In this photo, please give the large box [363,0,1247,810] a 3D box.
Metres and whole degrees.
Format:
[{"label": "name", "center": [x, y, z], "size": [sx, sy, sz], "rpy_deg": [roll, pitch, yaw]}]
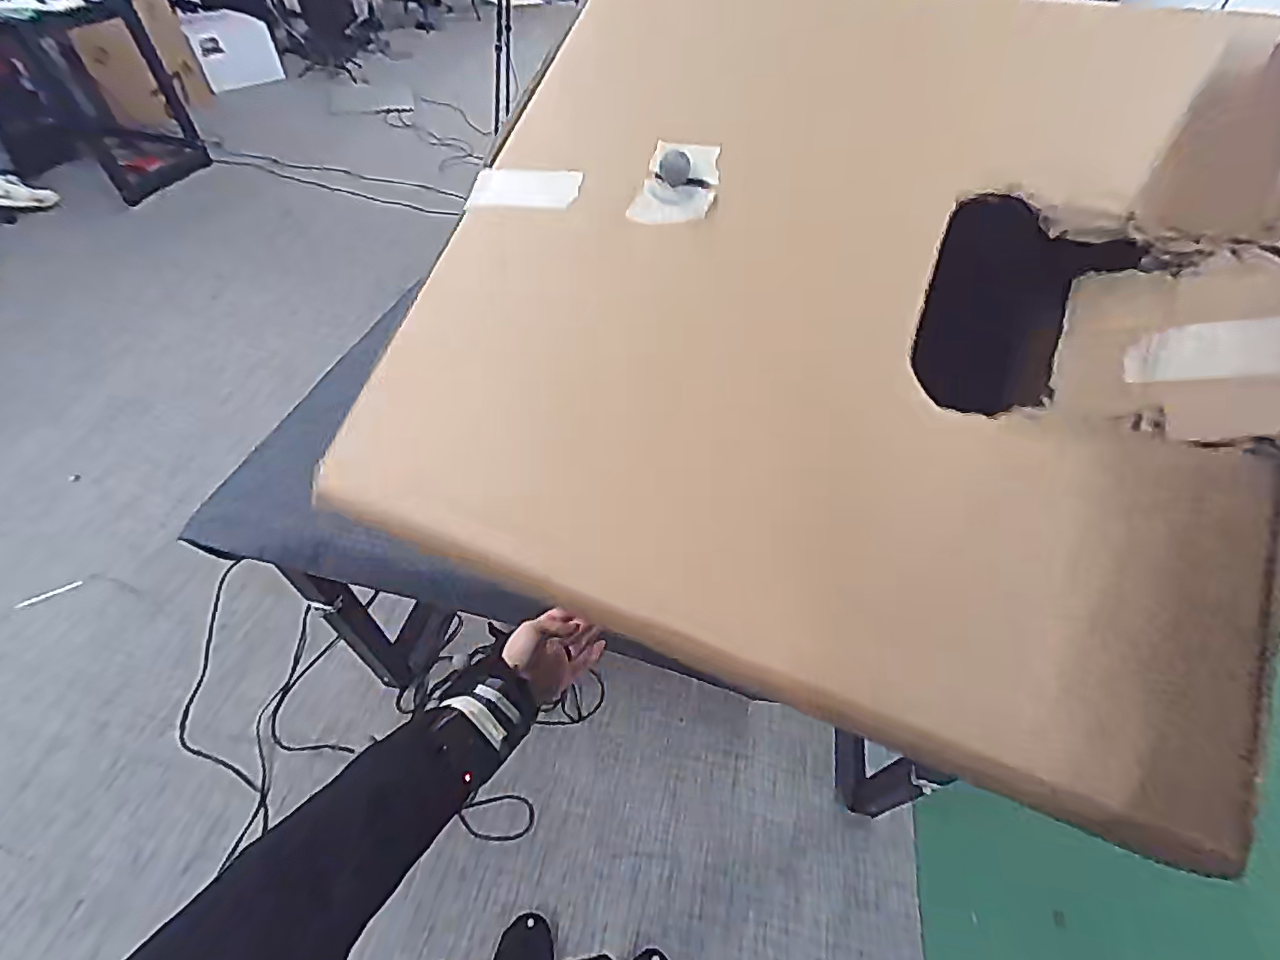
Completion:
[{"label": "large box", "center": [0.092, -0.027, 0.409], "size": [0.320, 0.408, 0.320], "rpy_deg": [18, 76, 12]}]
